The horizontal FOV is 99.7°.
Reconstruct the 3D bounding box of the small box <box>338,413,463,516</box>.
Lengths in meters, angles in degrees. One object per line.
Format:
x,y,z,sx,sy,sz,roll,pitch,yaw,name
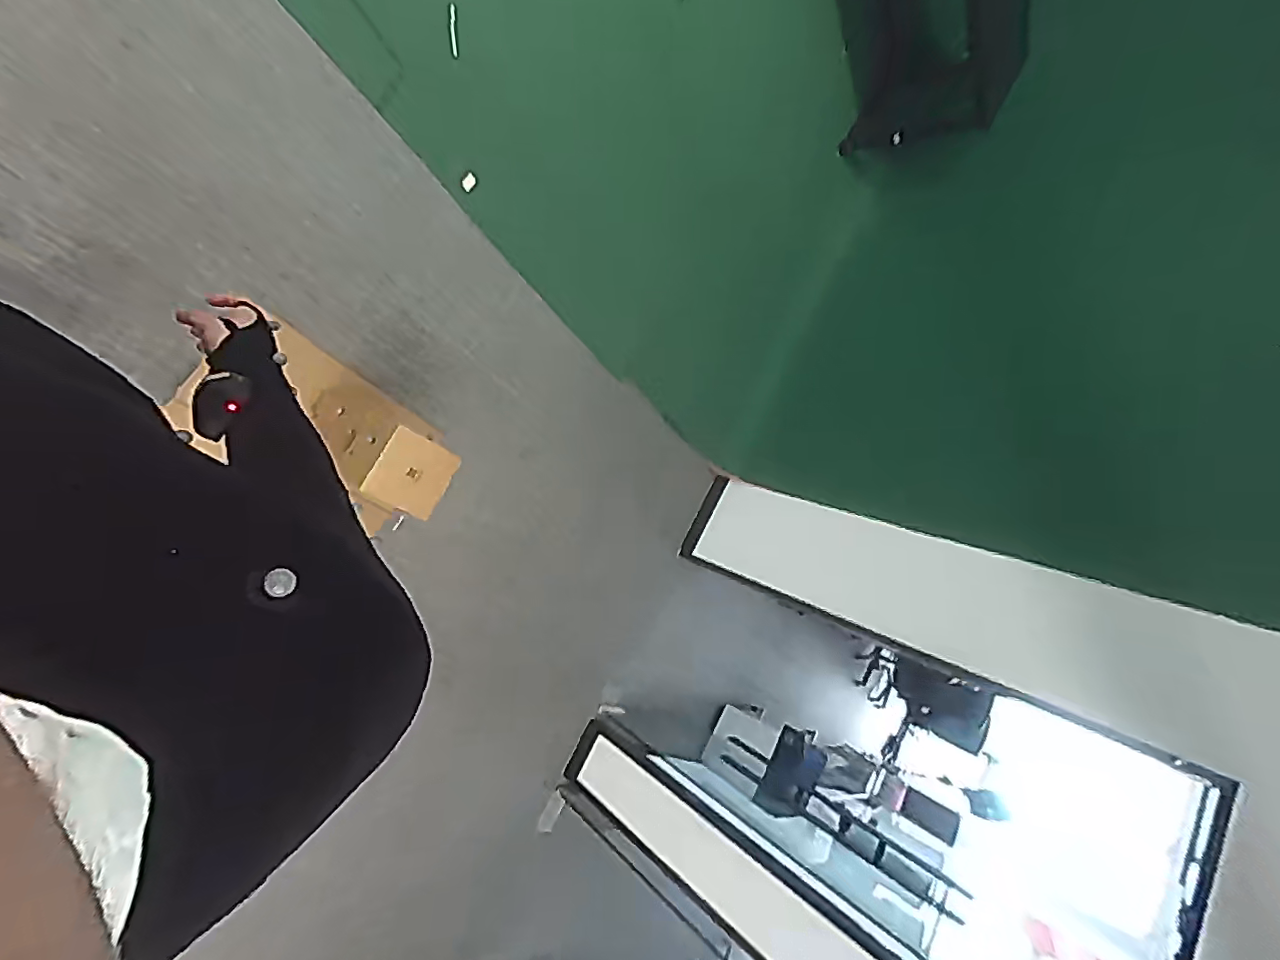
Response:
-0.556,-0.040,1.247,0.179,0.176,0.168,39,75,-47,small box

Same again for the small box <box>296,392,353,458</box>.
-0.786,-0.124,1.462,0.179,0.176,0.168,33,80,-47,small box

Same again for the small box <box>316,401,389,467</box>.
-0.669,-0.084,1.354,0.179,0.176,0.168,38,76,-48,small box
